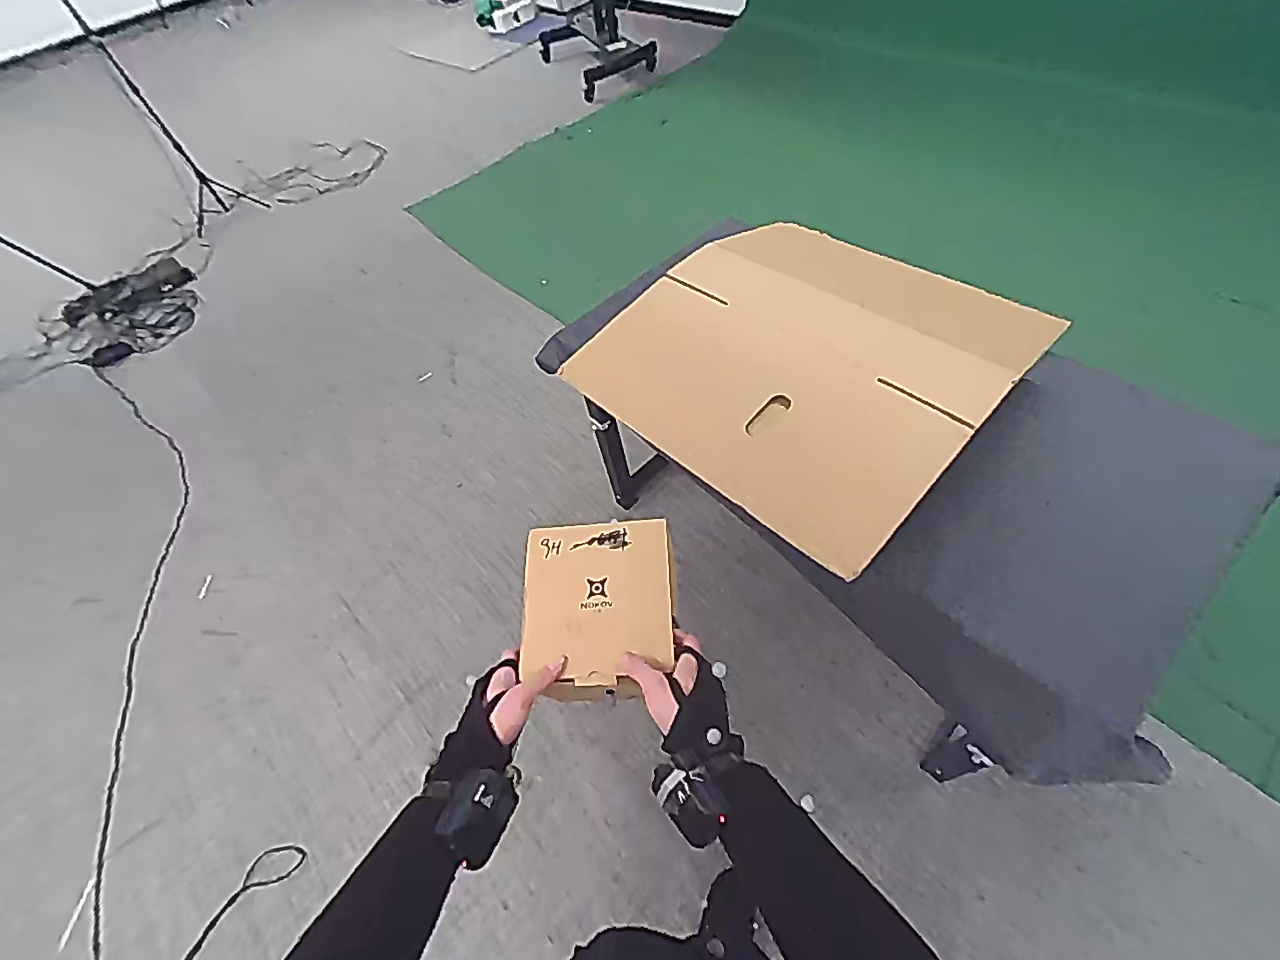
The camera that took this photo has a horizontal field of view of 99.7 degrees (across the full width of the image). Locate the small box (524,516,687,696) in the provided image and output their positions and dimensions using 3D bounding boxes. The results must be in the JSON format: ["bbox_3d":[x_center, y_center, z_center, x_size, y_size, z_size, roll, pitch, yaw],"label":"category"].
[{"bbox_3d":[-0.036,0.165,0.669,0.168,0.176,0.179,-8,60,4],"label":"small box"}]
